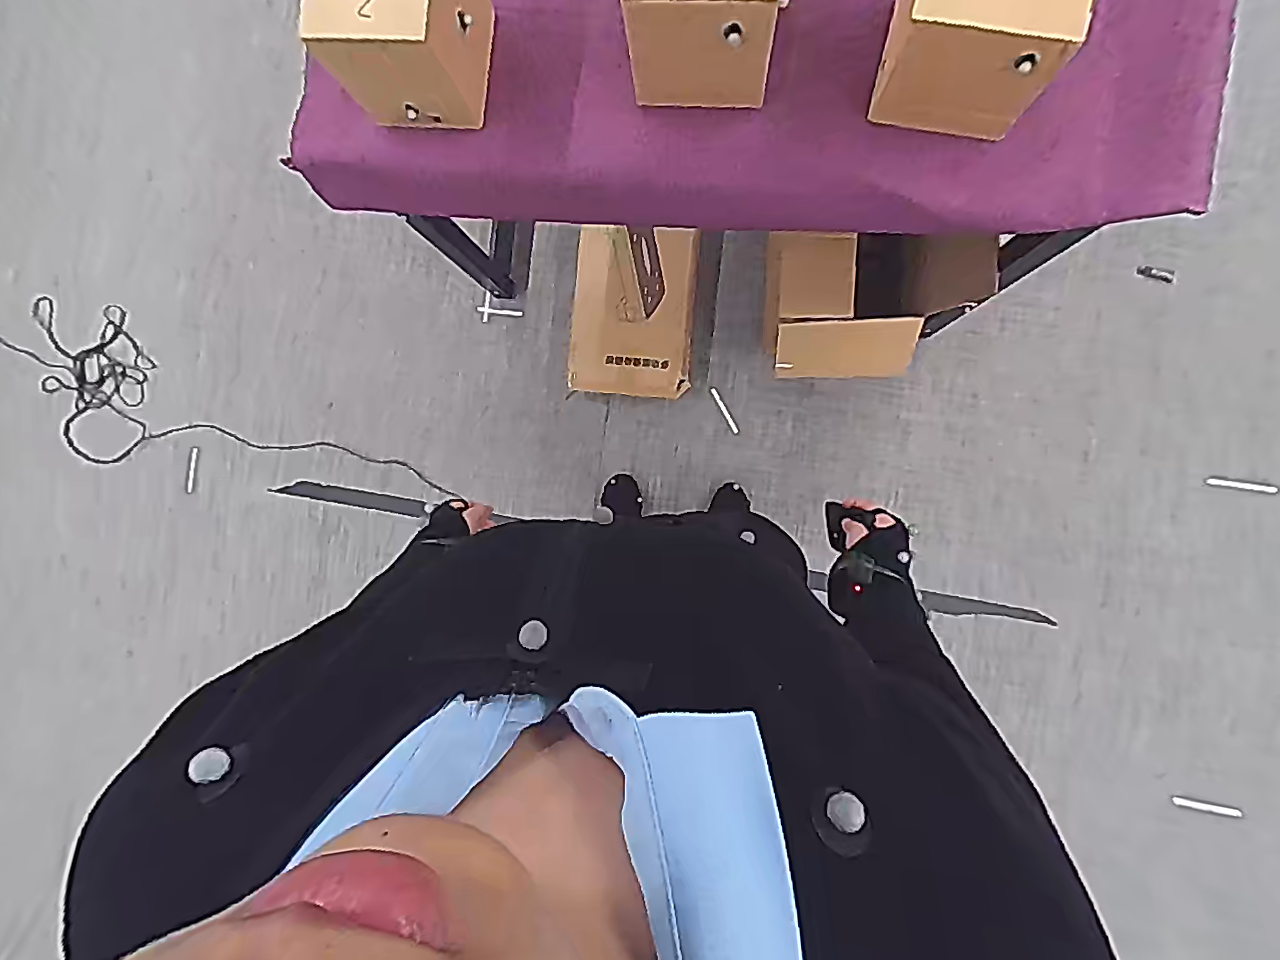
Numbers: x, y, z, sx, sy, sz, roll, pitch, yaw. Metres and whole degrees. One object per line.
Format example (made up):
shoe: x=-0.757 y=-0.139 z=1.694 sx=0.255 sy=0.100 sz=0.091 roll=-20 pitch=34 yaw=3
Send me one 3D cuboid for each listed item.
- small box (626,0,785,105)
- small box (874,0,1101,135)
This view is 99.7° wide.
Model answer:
small box: x=0.086 y=-0.598 z=0.665 sx=0.179 sy=0.176 sz=0.168 roll=6 pitch=89 yaw=7
small box: x=0.397 y=-0.540 z=0.630 sx=0.179 sy=0.176 sz=0.168 roll=13 pitch=92 yaw=6
